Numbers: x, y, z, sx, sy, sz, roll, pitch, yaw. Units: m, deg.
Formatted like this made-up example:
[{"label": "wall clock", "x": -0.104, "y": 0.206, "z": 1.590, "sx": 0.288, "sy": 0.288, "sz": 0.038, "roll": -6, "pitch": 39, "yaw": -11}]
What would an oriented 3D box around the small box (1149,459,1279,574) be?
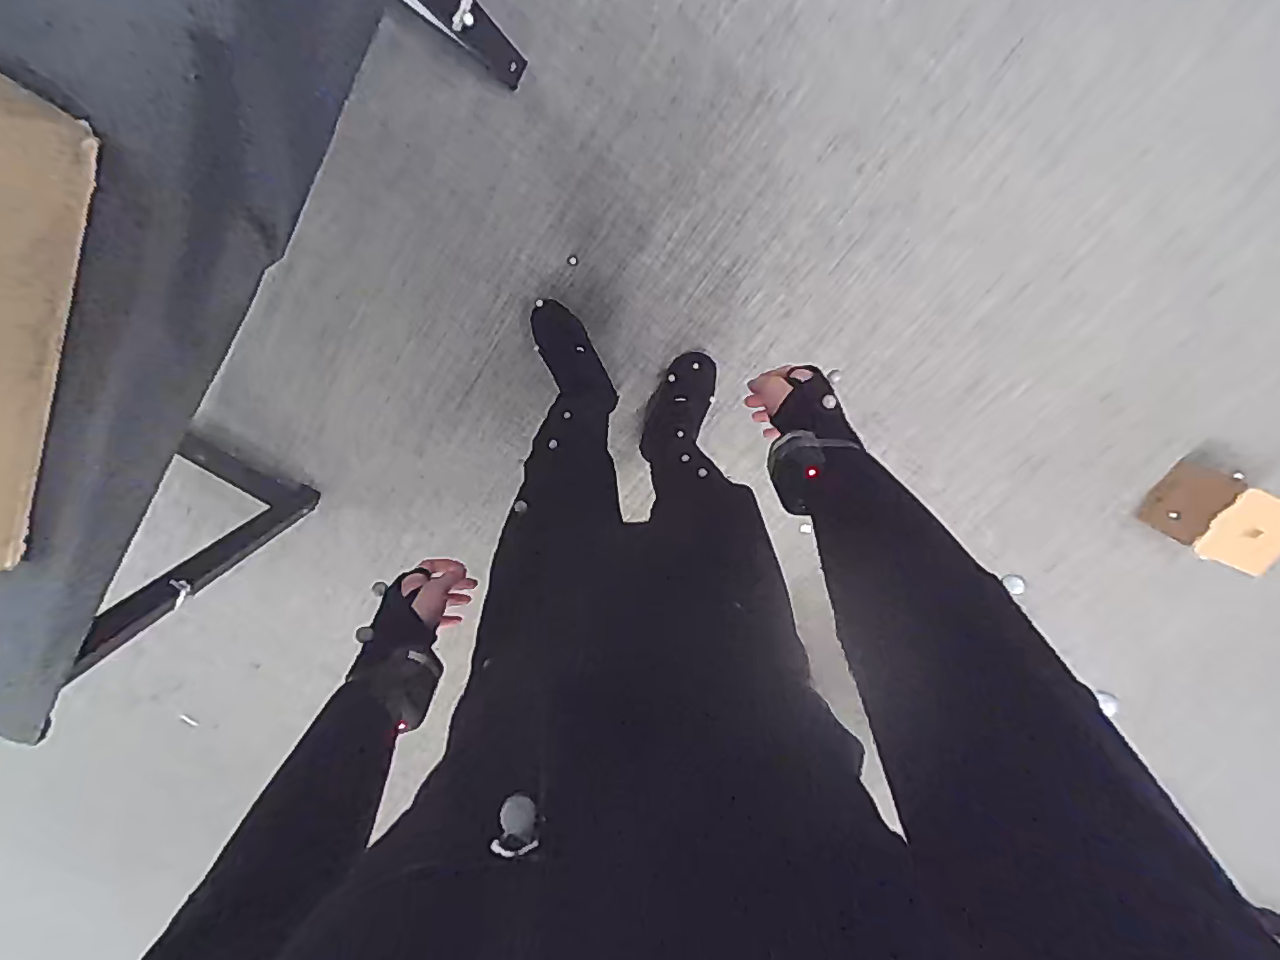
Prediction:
[{"label": "small box", "x": 1.303, "y": 0.072, "z": 1.190, "sx": 0.179, "sy": 0.176, "sz": 0.168, "roll": 20, "pitch": 114, "yaw": -5}]
